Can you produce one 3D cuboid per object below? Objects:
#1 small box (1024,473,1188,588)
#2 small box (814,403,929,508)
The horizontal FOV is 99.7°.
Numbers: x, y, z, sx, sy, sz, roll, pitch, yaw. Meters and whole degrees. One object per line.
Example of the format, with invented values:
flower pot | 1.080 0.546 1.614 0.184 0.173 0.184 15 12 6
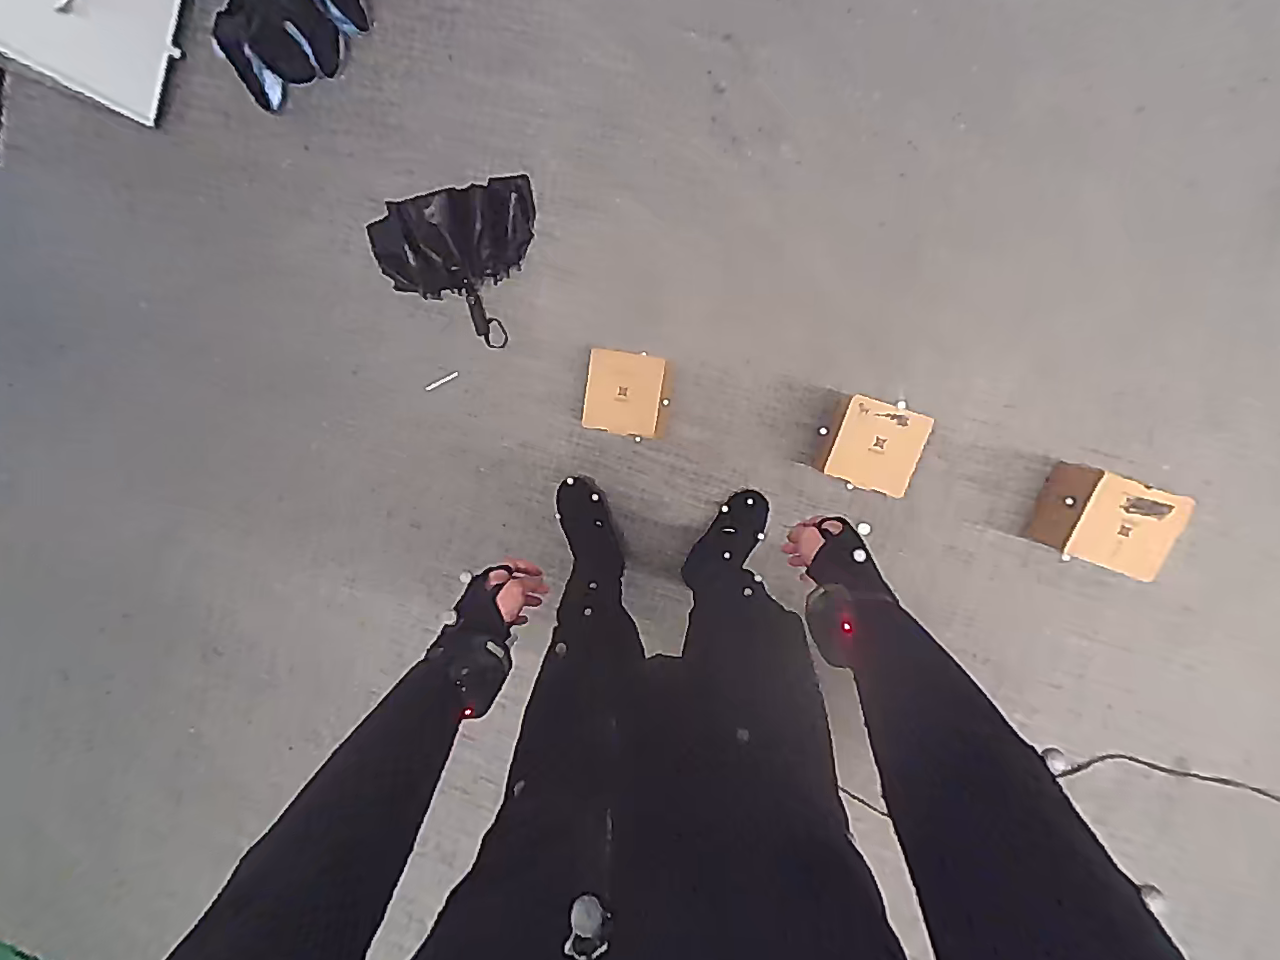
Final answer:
small box | 0.941 0.093 1.115 0.168 0.176 0.179 20 100 9
small box | 0.493 -0.057 1.183 0.168 0.176 0.179 20 98 8
